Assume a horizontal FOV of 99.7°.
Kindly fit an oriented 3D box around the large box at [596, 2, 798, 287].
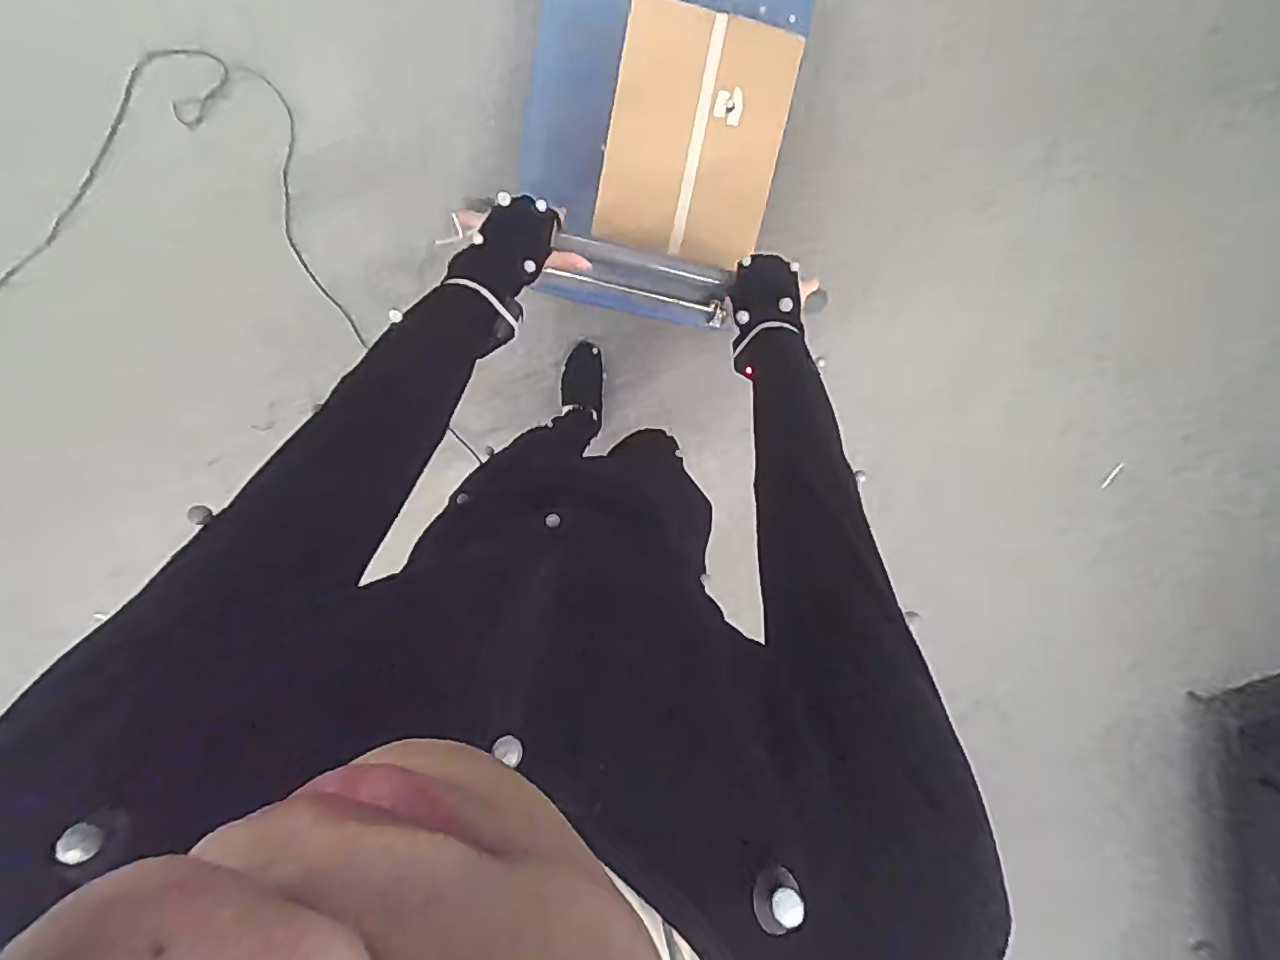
[{"bbox_3d":[0.091,-0.657,1.149,0.320,0.320,0.408,11,104,-8],"label":"large box"}]
